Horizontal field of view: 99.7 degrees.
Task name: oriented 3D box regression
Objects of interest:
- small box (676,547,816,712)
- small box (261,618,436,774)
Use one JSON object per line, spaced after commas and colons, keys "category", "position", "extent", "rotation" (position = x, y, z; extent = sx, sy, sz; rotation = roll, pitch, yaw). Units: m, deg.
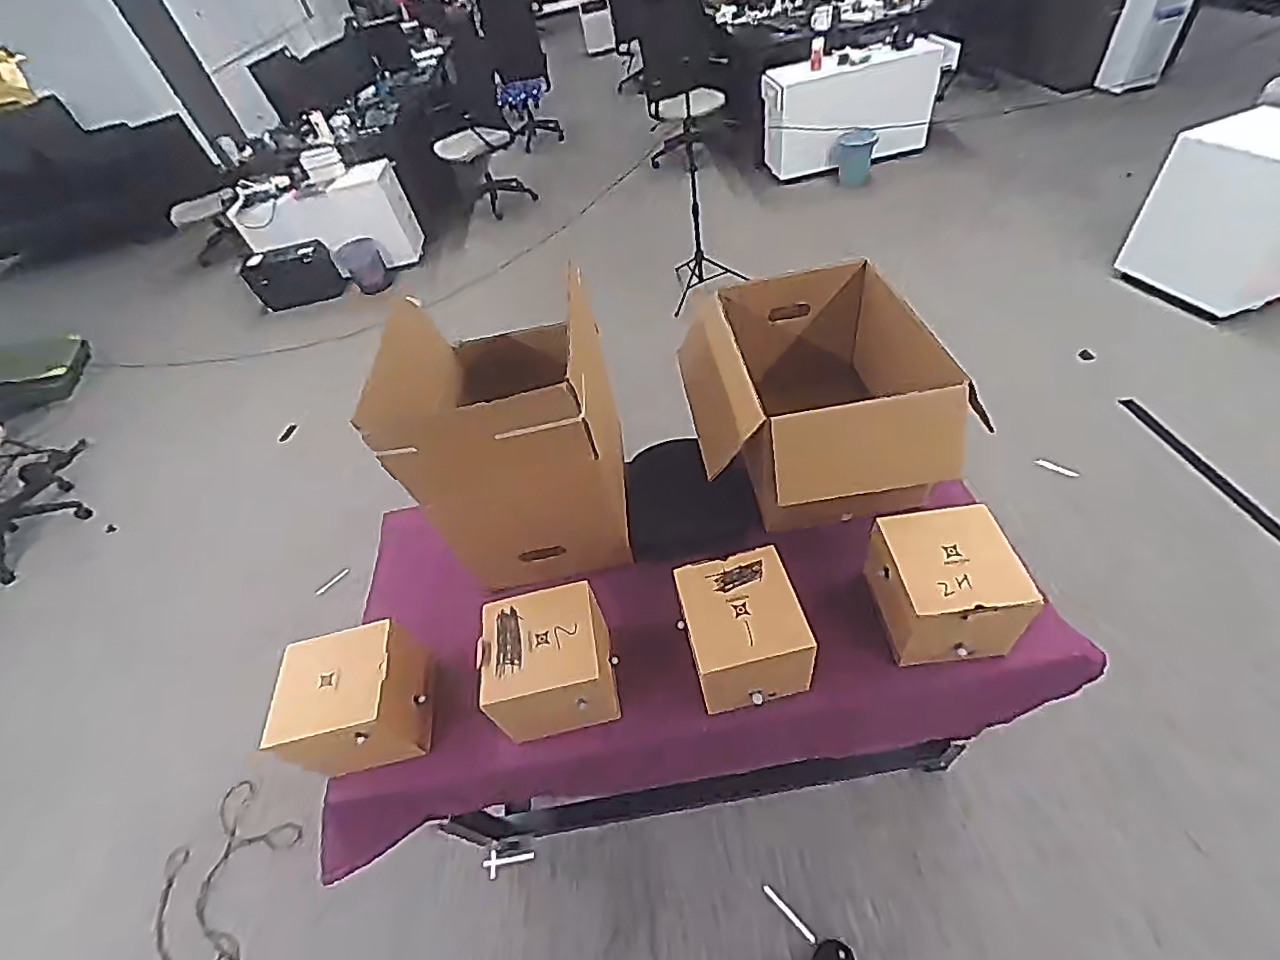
{"category": "small box", "position": [0.159, 0.236, 0.848], "extent": [0.168, 0.176, 0.179], "rotation": [-14, 48, 1]}
{"category": "small box", "position": [-0.457, 0.355, 0.880], "extent": [0.179, 0.176, 0.168], "rotation": [-13, 47, -1]}
